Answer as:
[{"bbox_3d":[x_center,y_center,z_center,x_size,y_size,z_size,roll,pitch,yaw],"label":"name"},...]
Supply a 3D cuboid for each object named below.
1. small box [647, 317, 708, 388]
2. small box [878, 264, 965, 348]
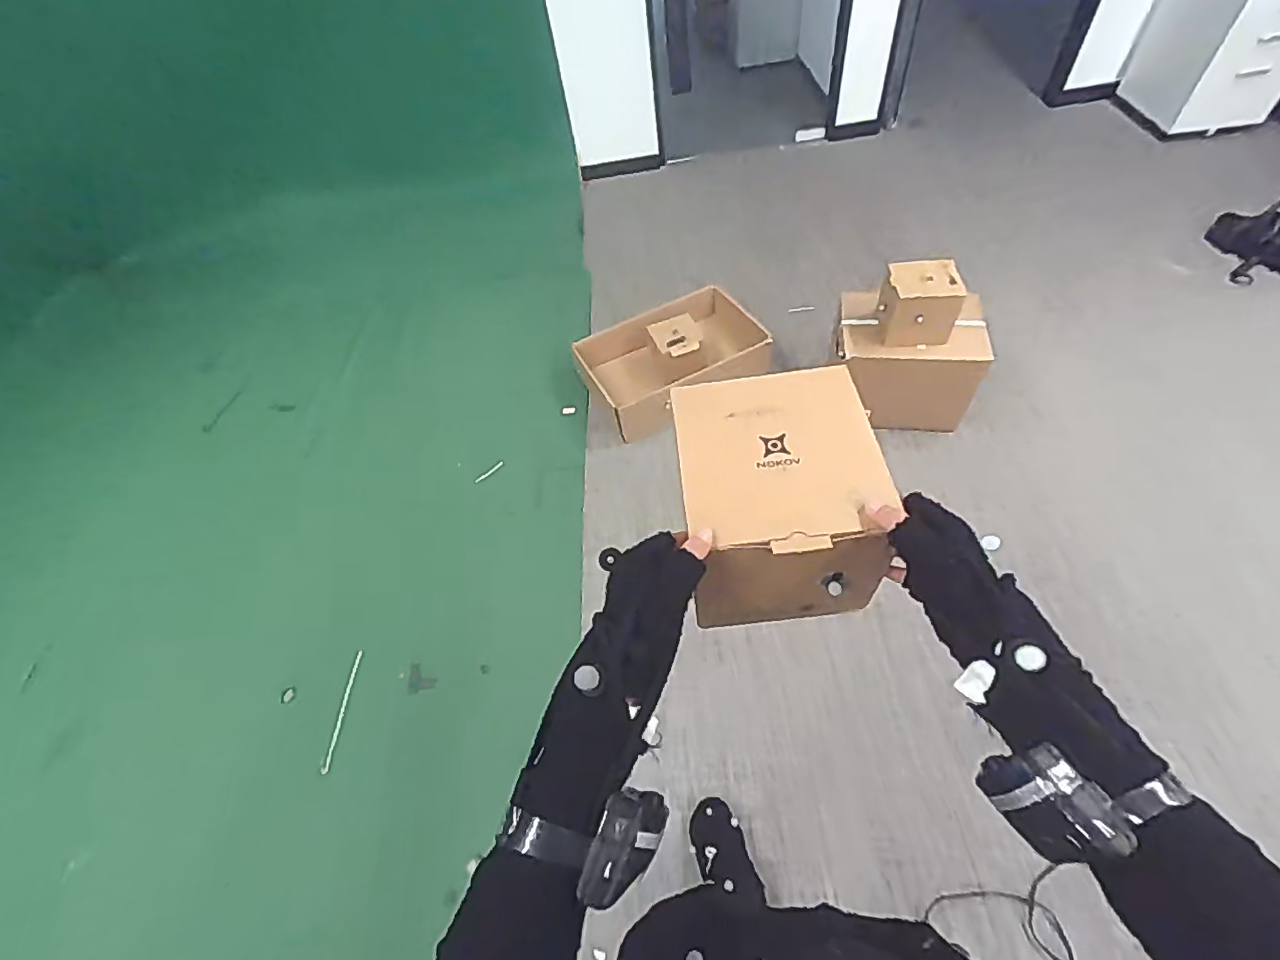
[{"bbox_3d":[0.140,-0.456,1.962,0.168,0.176,0.179,-19,51,-5],"label":"small box"},{"bbox_3d":[0.798,-0.497,1.559,0.179,0.176,0.168,-1,54,9],"label":"small box"}]
